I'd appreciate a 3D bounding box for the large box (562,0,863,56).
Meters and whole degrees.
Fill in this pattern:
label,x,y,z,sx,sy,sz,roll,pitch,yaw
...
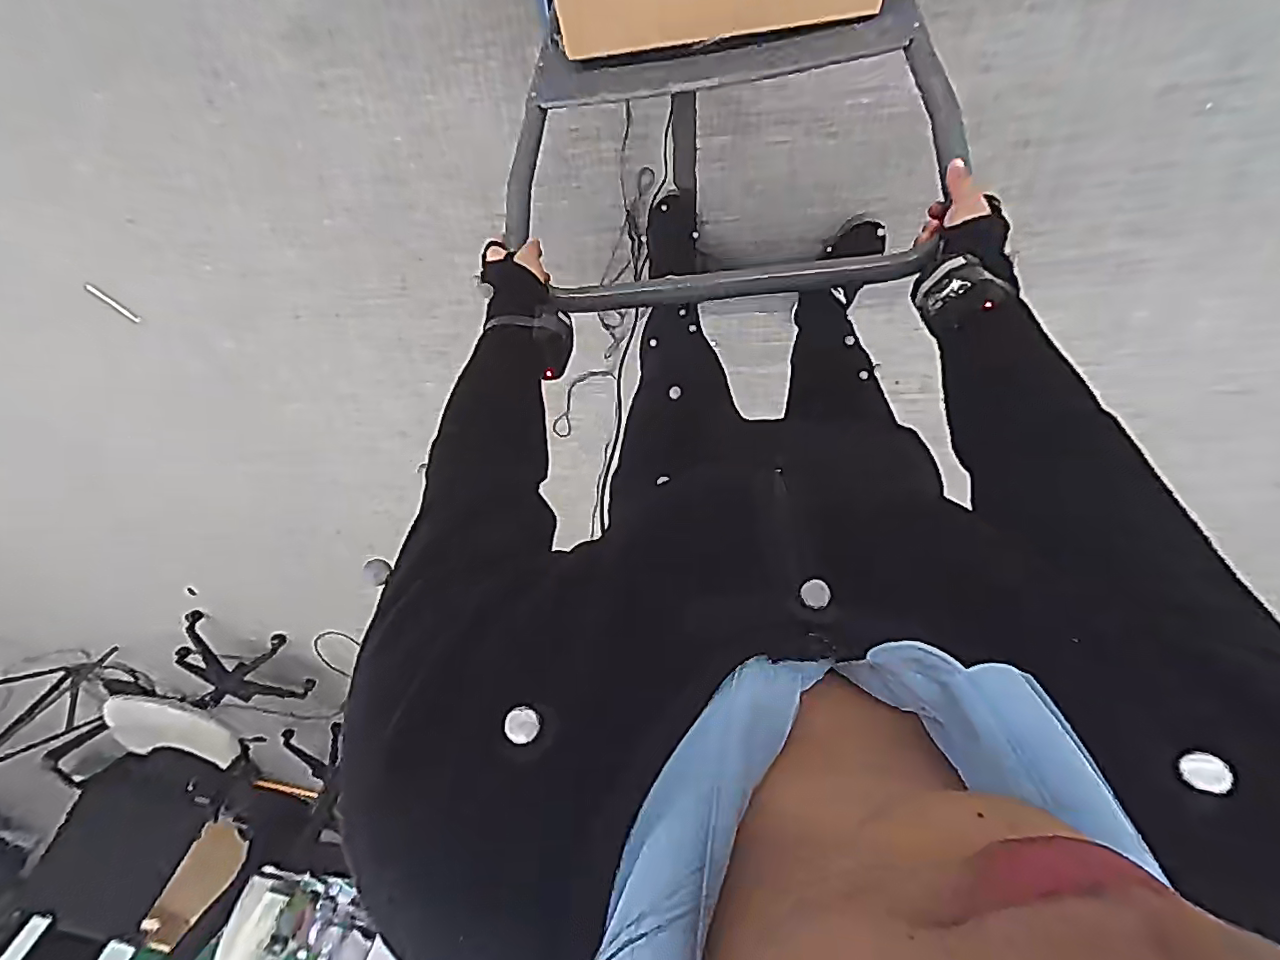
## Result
label,x,y,z,sx,sy,sz,roll,pitch,yaw
large box,0.083,-0.794,0.655,0.408,0.320,0.320,-3,149,9
